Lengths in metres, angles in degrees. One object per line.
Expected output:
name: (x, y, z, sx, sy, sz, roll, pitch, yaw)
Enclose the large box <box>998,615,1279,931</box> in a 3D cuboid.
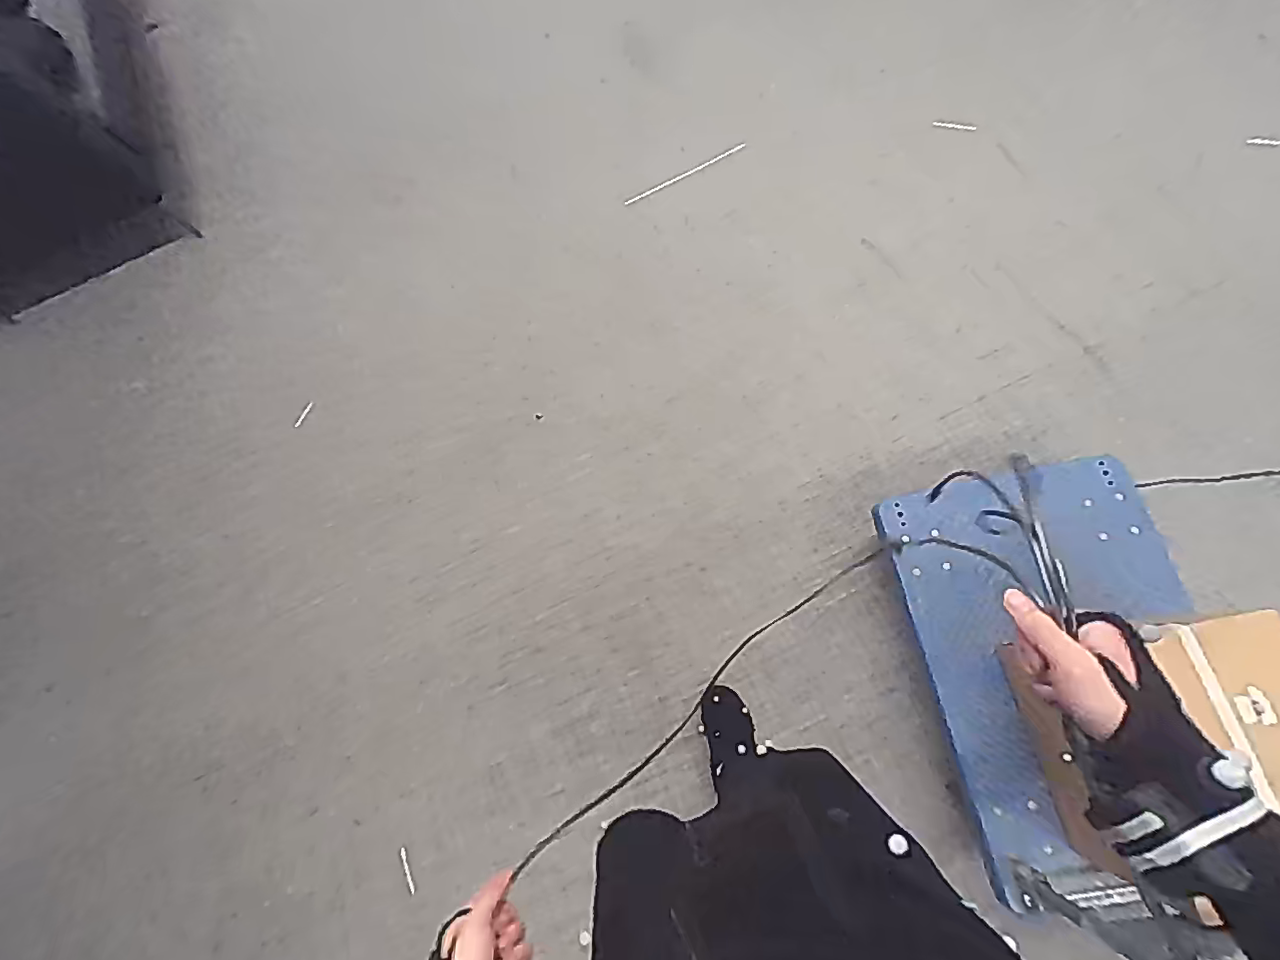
large box: (0.945, 0.484, 0.974, 0.320, 0.320, 0.408, -12, 70, 4)
